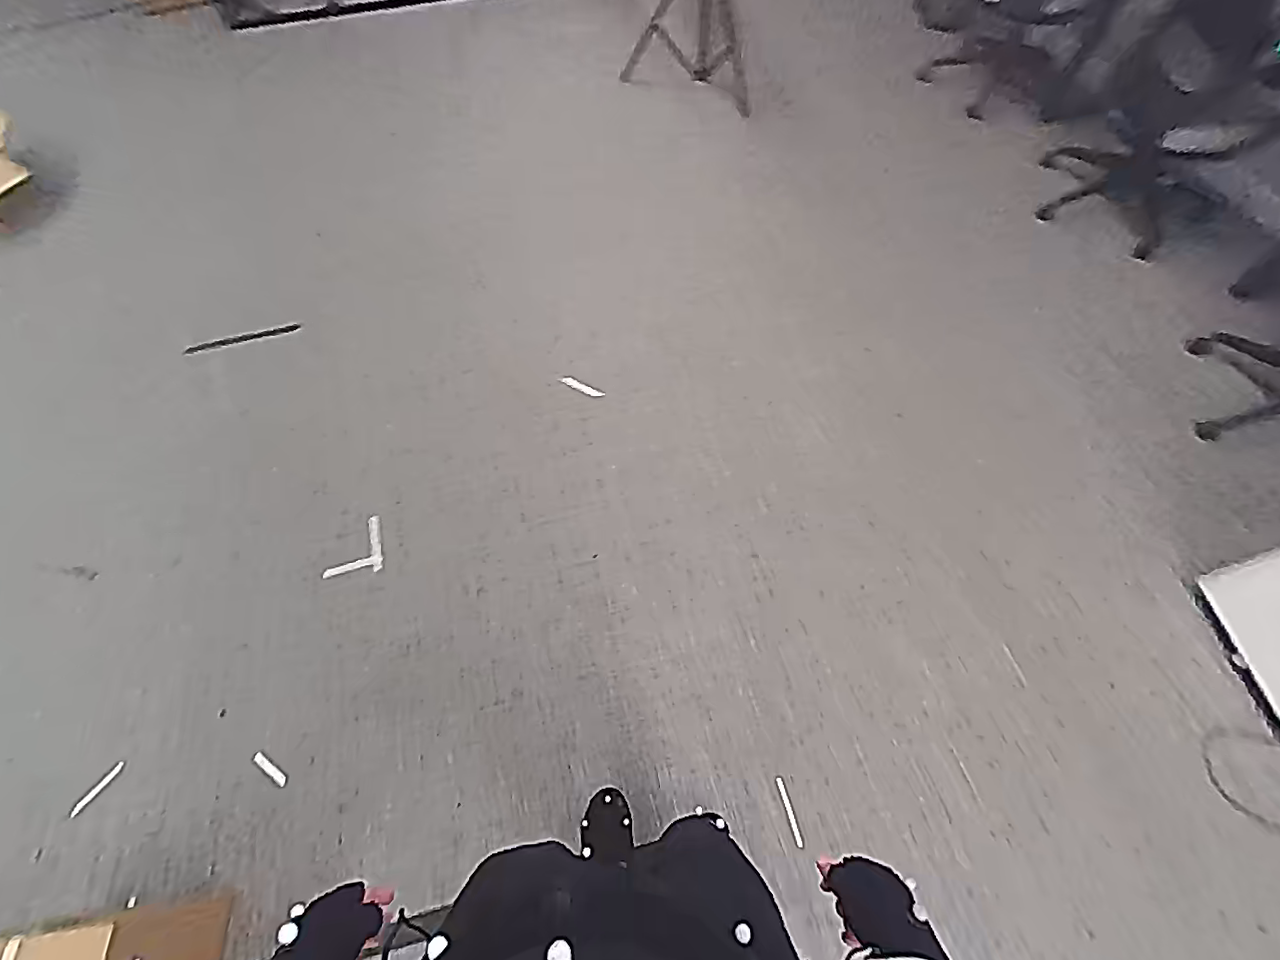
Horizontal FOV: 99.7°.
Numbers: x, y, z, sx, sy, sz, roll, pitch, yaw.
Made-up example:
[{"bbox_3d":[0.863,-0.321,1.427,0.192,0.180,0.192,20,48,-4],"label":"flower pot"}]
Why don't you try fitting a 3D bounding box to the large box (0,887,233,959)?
[{"bbox_3d":[-1.001,1.005,0.945,0.320,0.320,0.408,-7,62,-3],"label":"large box"}]
